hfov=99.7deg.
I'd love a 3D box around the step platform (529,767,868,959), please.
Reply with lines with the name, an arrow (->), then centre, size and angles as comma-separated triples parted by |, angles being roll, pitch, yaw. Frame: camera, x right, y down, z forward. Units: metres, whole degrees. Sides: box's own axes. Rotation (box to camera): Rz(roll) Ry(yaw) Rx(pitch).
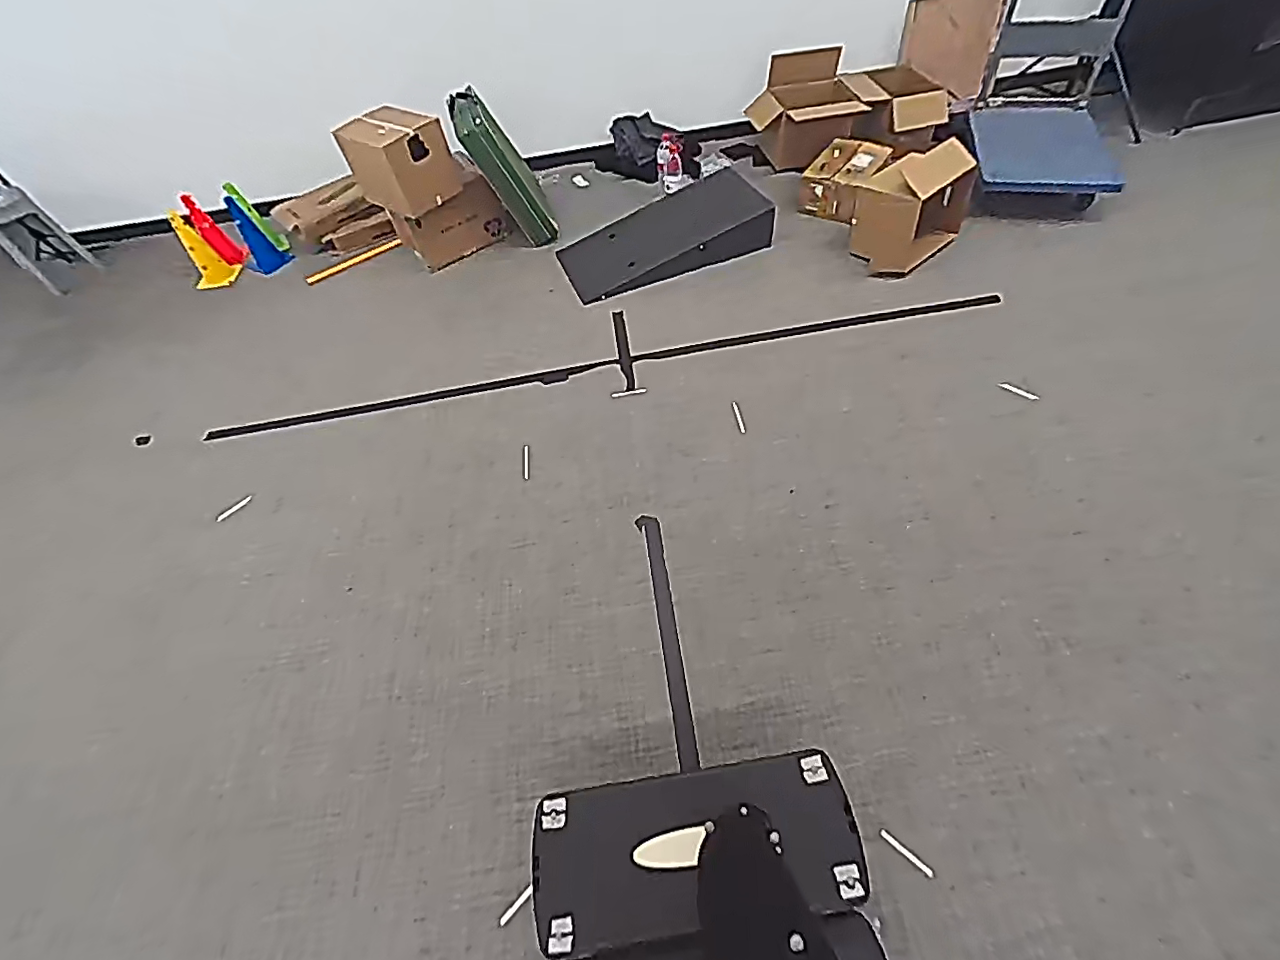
step platform -> 0.111, 0.827, 1.150 | 0.684, 0.204, 0.286 | -10, 53, -2
